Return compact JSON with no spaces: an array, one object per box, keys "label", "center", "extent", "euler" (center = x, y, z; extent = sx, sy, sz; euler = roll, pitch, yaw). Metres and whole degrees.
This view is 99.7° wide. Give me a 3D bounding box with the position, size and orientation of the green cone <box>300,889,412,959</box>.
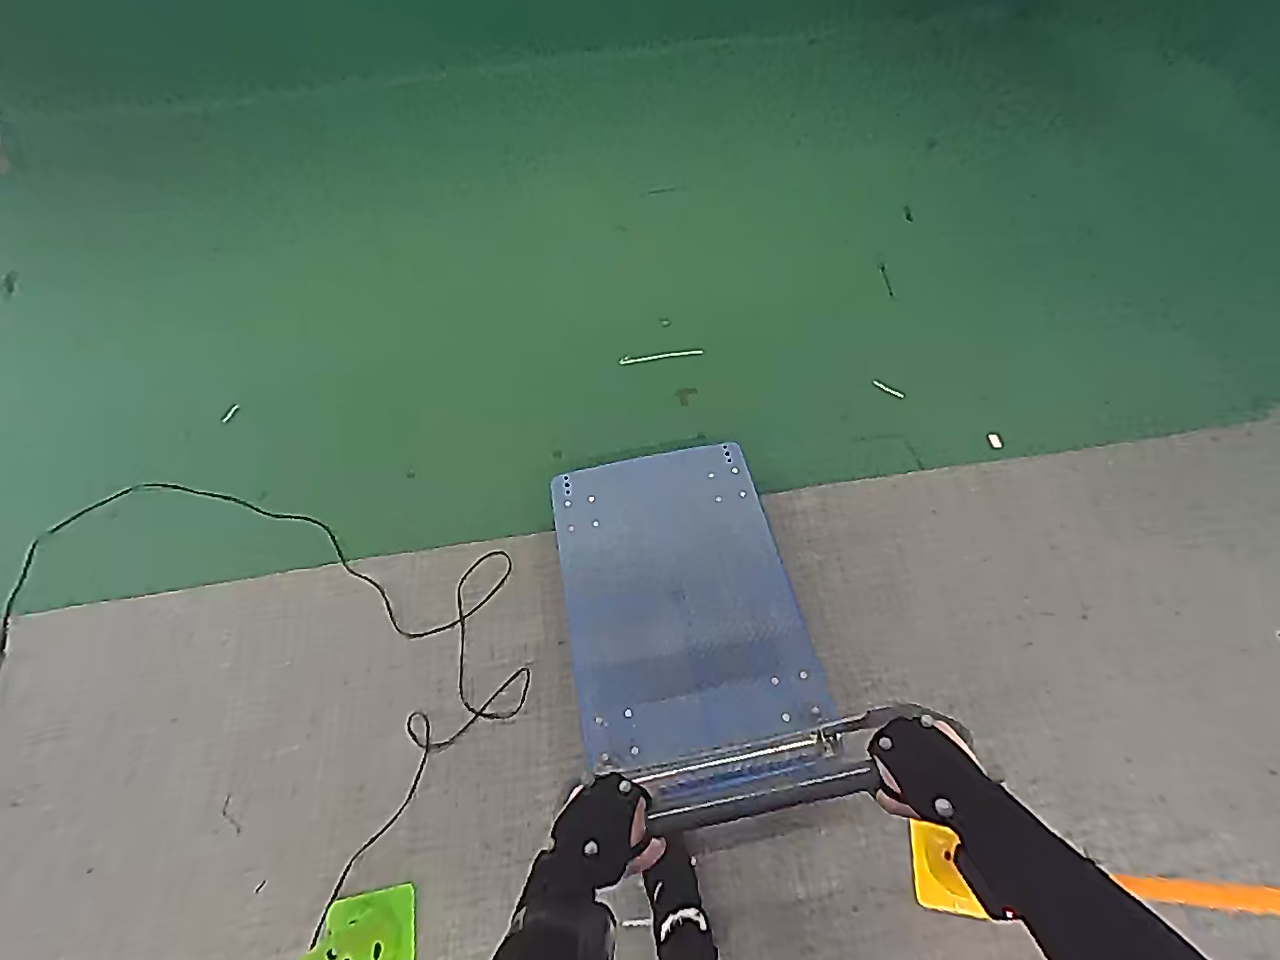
[{"label":"green cone","center":[-0.612,0.948,1.037],"extent":[0.202,0.368,0.200],"euler":[-13,59,-2]}]
